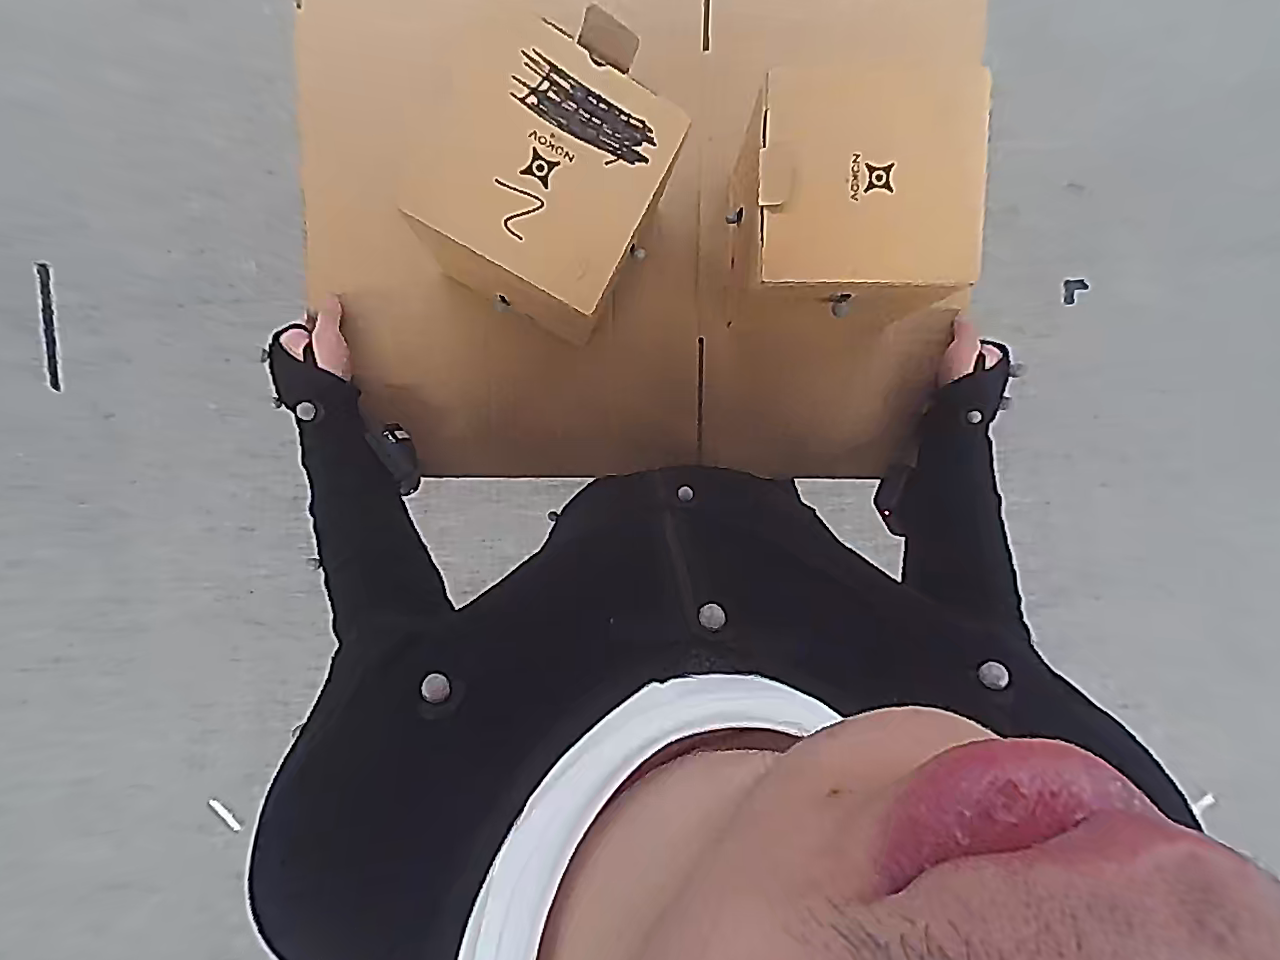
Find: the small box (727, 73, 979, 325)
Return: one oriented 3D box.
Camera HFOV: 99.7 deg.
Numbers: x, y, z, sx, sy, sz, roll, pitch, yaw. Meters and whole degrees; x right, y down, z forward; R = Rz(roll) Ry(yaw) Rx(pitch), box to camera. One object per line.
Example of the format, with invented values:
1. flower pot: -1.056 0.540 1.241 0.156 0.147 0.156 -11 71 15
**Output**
1. small box: 0.186 -0.251 0.521 0.179 0.176 0.168 0 94 1
